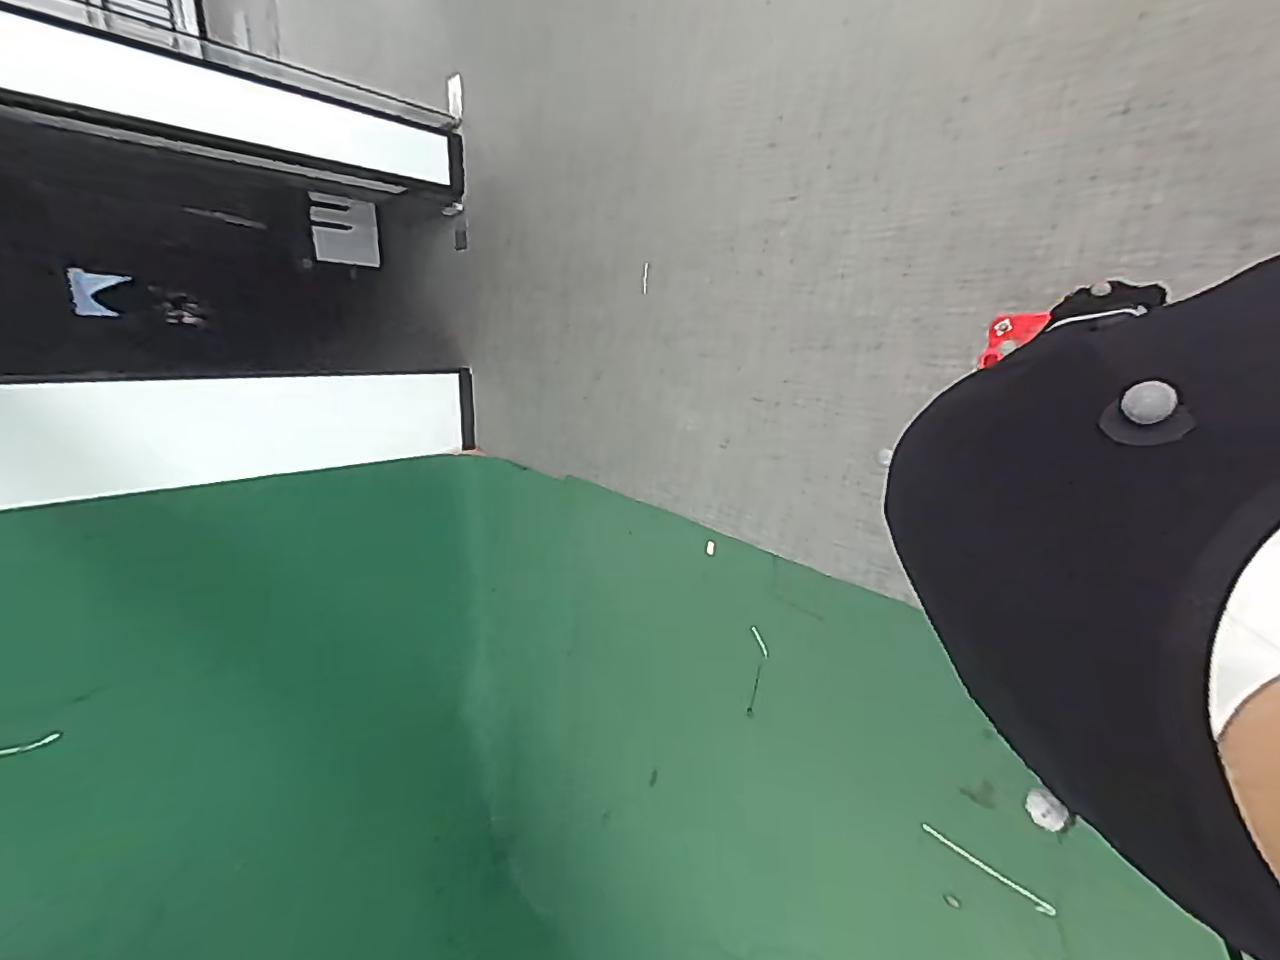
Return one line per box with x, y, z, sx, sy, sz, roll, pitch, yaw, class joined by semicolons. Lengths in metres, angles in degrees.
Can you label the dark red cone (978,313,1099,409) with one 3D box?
0.753;-0.230;1.078;0.202;0.394;0.201;11;108;46;dark red cone
